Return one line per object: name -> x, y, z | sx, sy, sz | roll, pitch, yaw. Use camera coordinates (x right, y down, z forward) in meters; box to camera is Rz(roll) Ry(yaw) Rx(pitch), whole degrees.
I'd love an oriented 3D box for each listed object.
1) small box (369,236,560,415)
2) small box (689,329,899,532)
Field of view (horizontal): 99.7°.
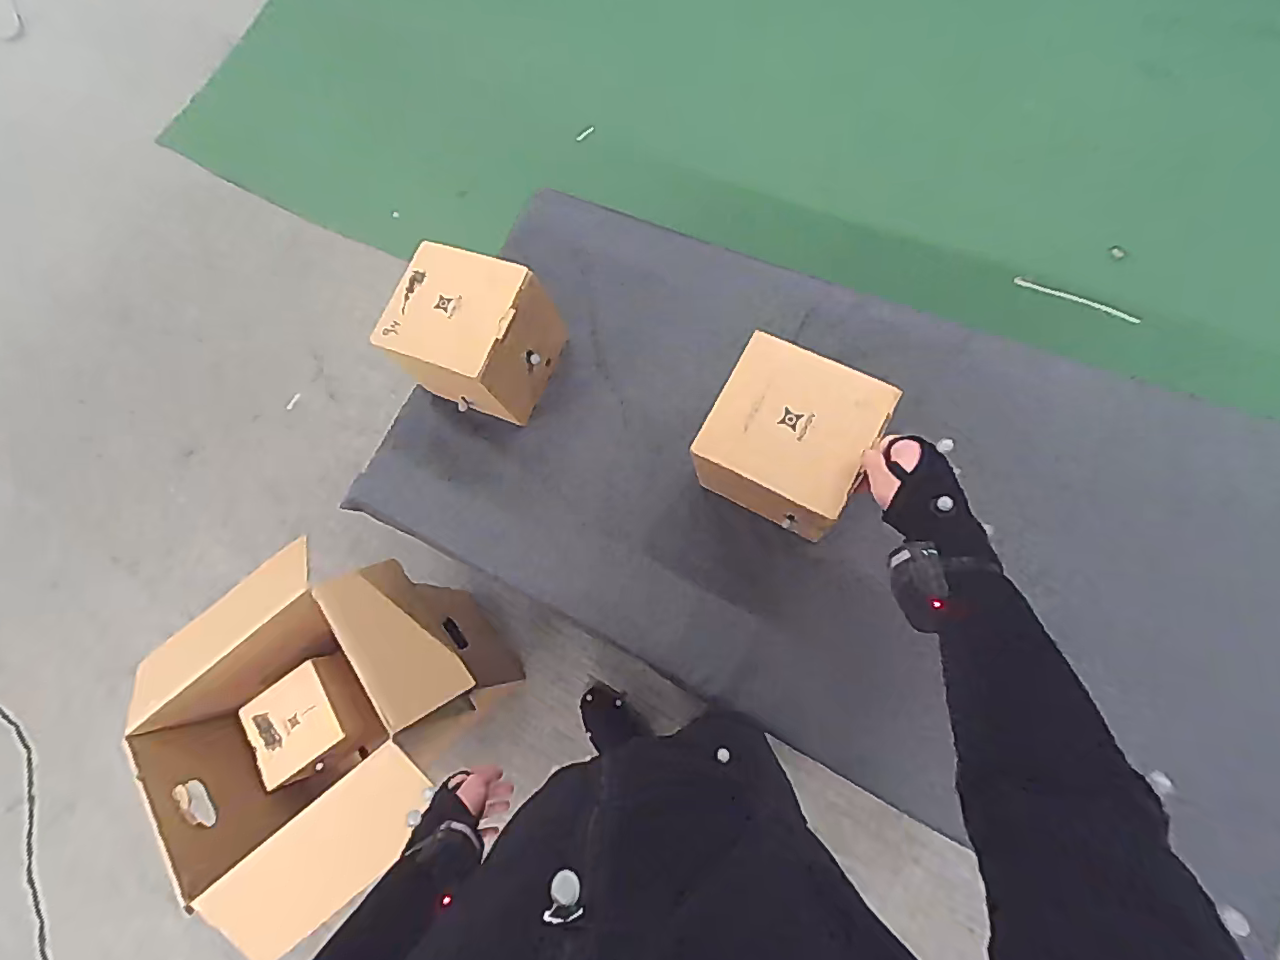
small box -> -0.237, -0.211, 0.781 | 0.179, 0.176, 0.168 | 21, 79, 13
small box -> 0.180, -0.049, 0.668 | 0.179, 0.176, 0.168 | 28, 80, 17
